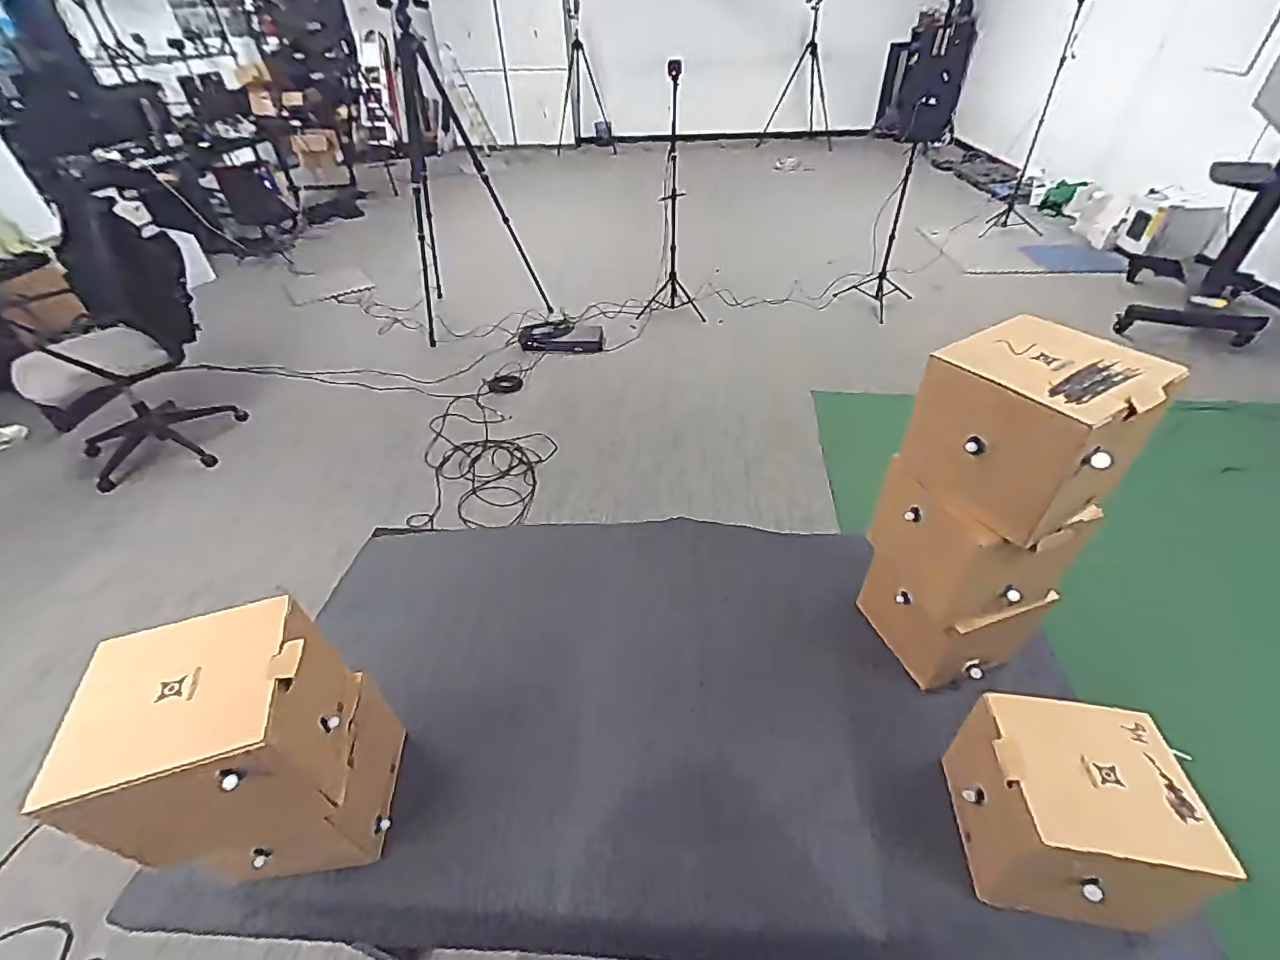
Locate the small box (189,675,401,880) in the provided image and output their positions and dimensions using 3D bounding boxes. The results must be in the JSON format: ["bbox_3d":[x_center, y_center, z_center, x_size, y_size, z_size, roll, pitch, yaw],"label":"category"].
[{"bbox_3d":[-0.418,0.366,0.667,0.179,0.176,0.168,-6,42,-4],"label":"small box"}]

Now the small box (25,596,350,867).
[{"bbox_3d":[-0.421,0.253,0.548,0.179,0.176,0.168,-14,43,-14],"label":"small box"}]

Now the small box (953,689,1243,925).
[{"bbox_3d":[0.478,0.365,0.609,0.179,0.176,0.168,4,37,9],"label":"small box"}]

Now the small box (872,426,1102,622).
[{"bbox_3d":[0.439,0.057,0.724,0.168,0.176,0.179,-13,42,-7],"label":"small box"}]

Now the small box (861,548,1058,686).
[{"bbox_3d":[0.470,0.180,0.831,0.168,0.176,0.179,-16,44,-10],"label":"small box"}]
